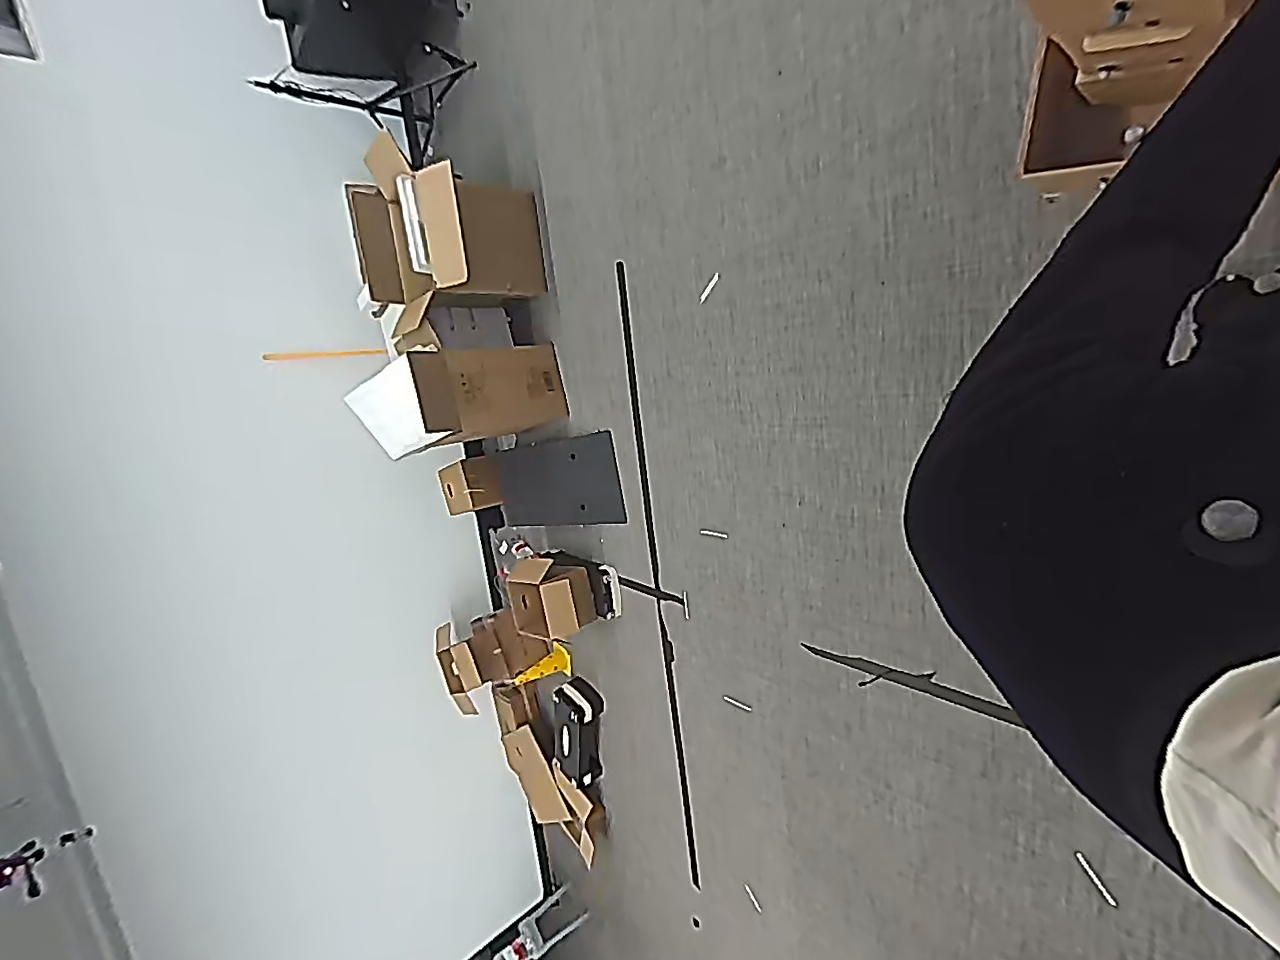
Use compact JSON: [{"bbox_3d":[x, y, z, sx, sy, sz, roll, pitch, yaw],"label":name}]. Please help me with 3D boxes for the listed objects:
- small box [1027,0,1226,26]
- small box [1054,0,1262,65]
[{"bbox_3d":[0.515,-0.584,0.536,0.168,0.176,0.179,32,124,40],"label":"small box"},{"bbox_3d":[0.638,-0.622,0.639,0.168,0.176,0.179,28,121,42],"label":"small box"}]
